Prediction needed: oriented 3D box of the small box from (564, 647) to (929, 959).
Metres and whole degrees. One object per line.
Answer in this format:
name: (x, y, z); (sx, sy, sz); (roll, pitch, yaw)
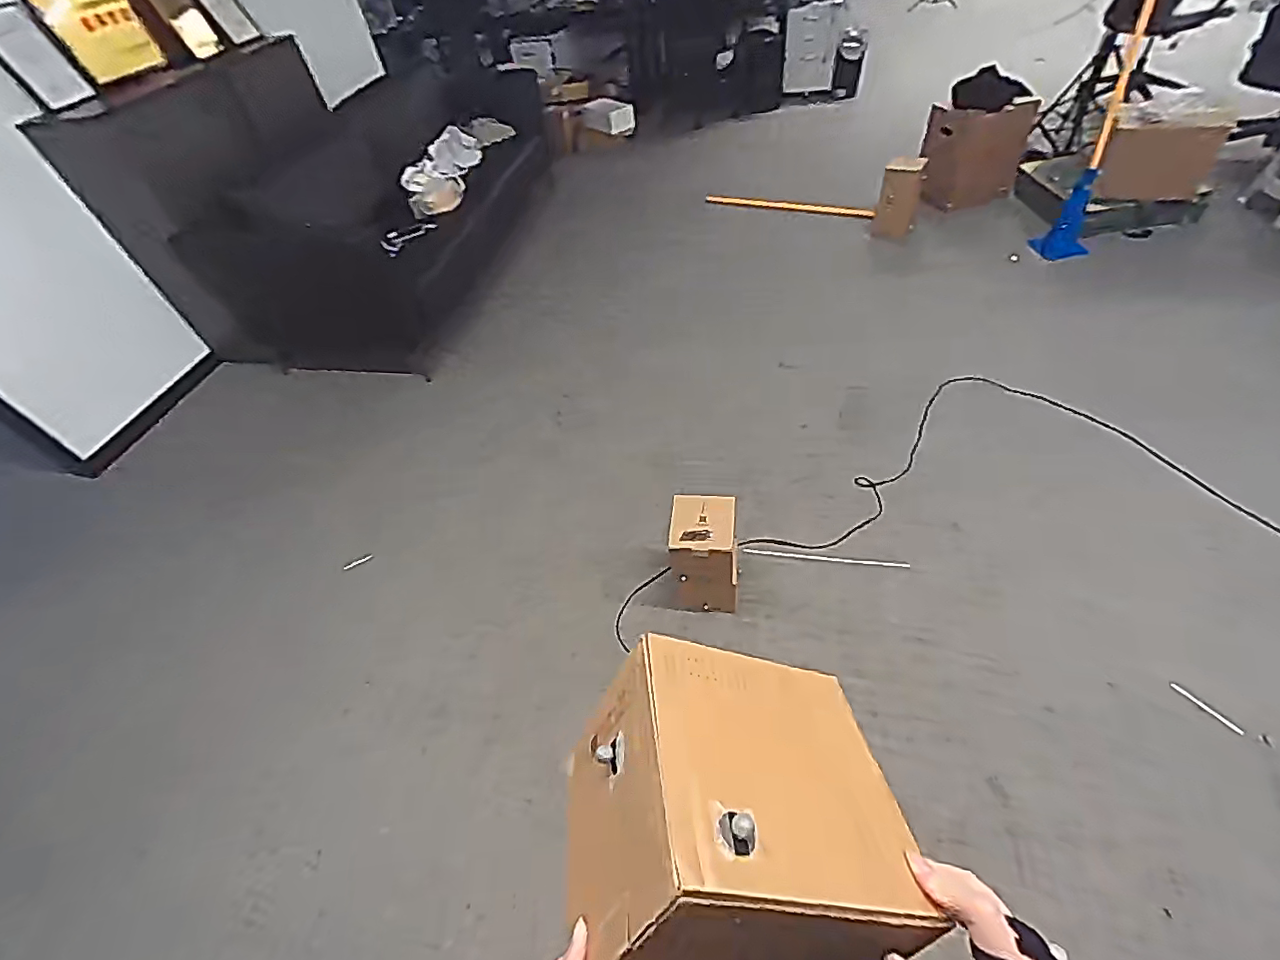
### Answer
small box: (0.055, 0.249, 0.395); (0.179, 0.168, 0.176); (17, 27, -13)

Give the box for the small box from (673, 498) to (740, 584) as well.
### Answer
small box: (0.188, 0.168, 1.478); (0.168, 0.176, 0.179); (0, 49, 11)
